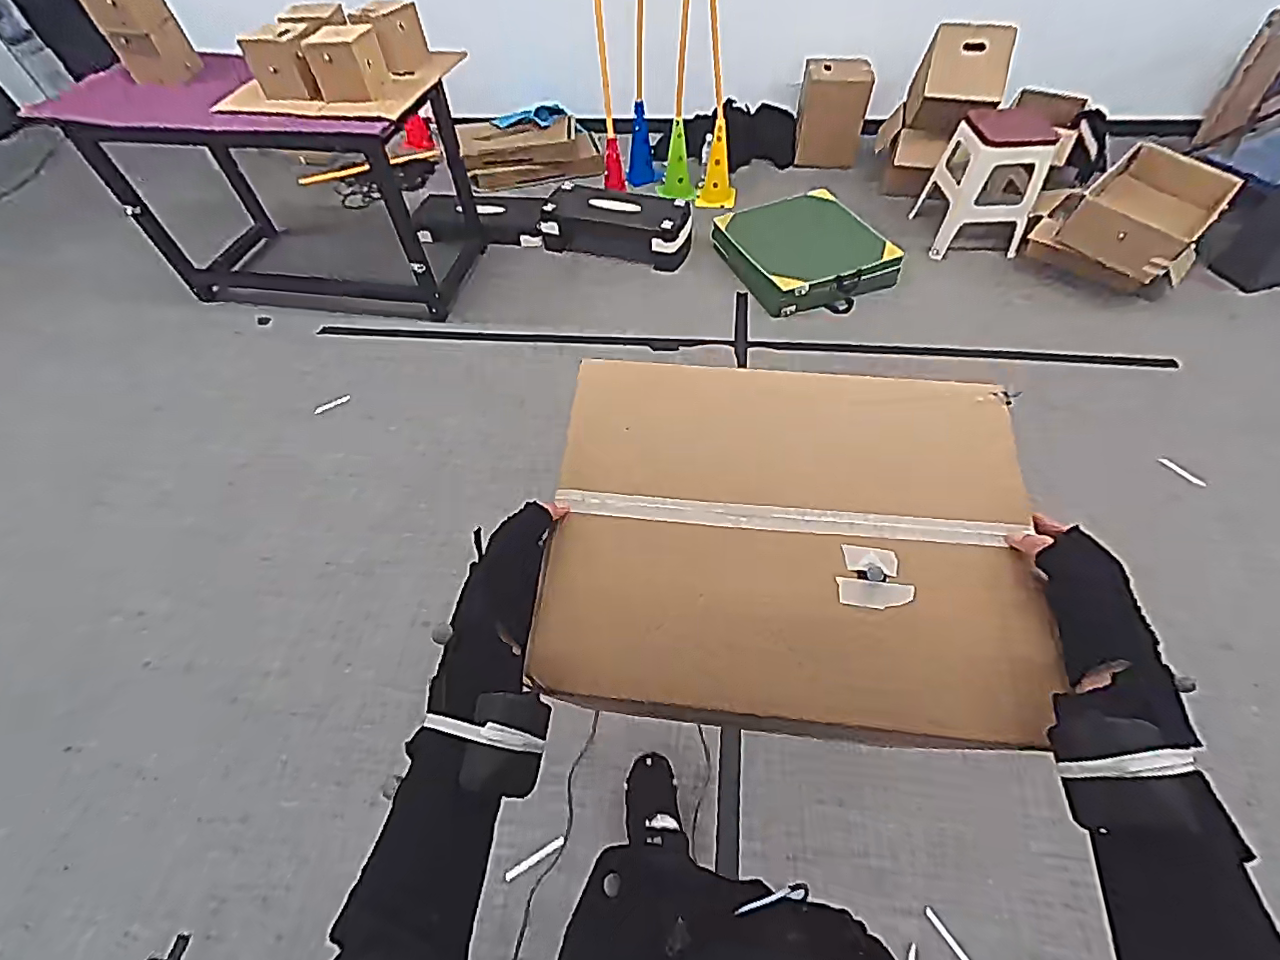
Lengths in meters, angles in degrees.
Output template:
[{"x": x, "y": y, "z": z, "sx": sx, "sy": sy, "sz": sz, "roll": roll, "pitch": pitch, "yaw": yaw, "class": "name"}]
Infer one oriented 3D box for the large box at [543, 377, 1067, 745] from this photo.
[{"x": 0.135, "y": 0.108, "z": 0.607, "sx": 0.408, "sy": 0.320, "sz": 0.320, "roll": 5, "pitch": 66, "yaw": 4, "class": "large box"}]
